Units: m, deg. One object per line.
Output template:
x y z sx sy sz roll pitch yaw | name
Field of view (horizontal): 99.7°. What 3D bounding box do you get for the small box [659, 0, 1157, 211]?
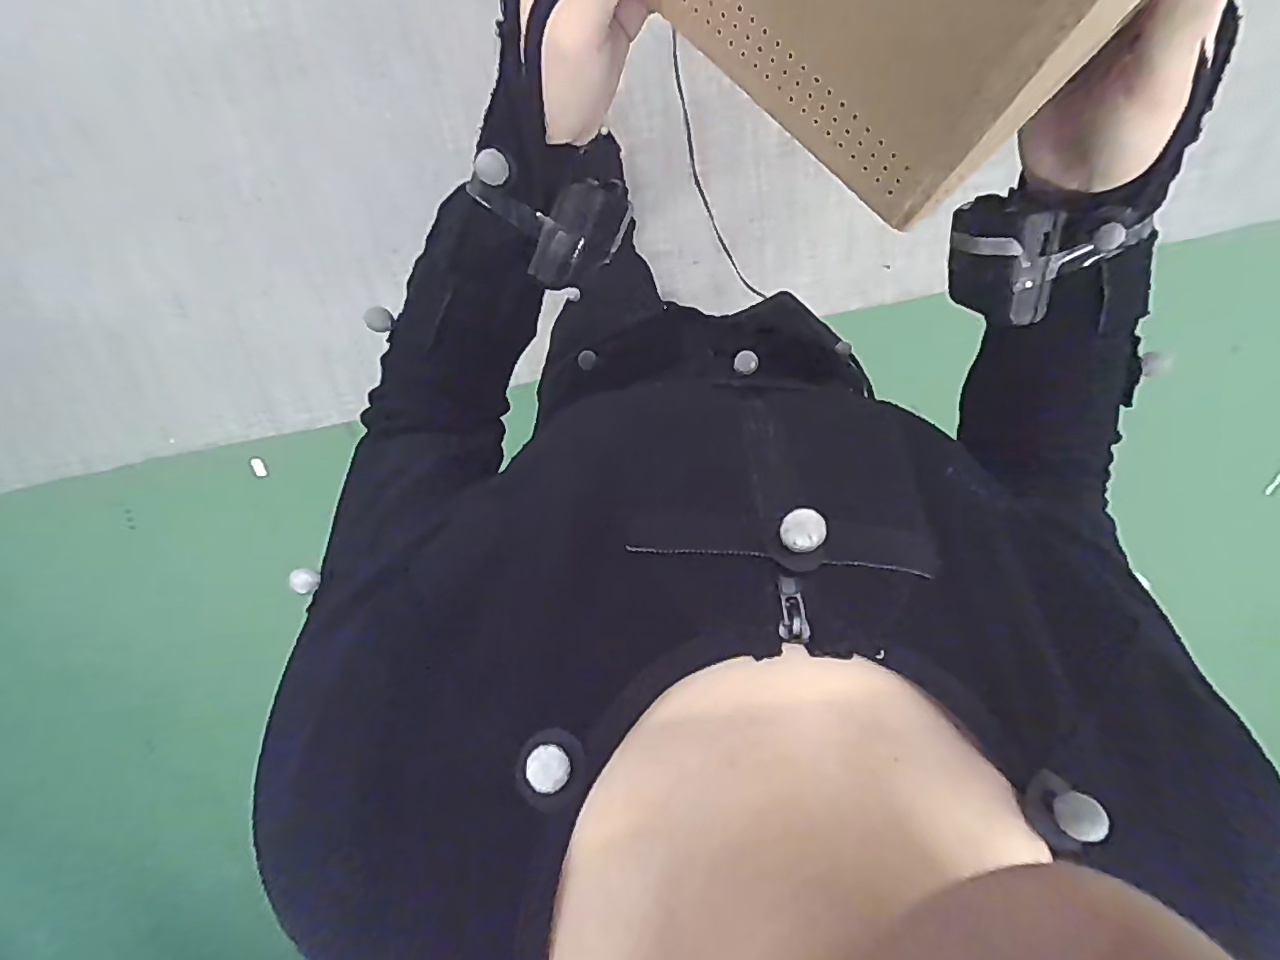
0.101 -0.221 0.148 0.179 0.176 0.168 45 88 5 | small box
